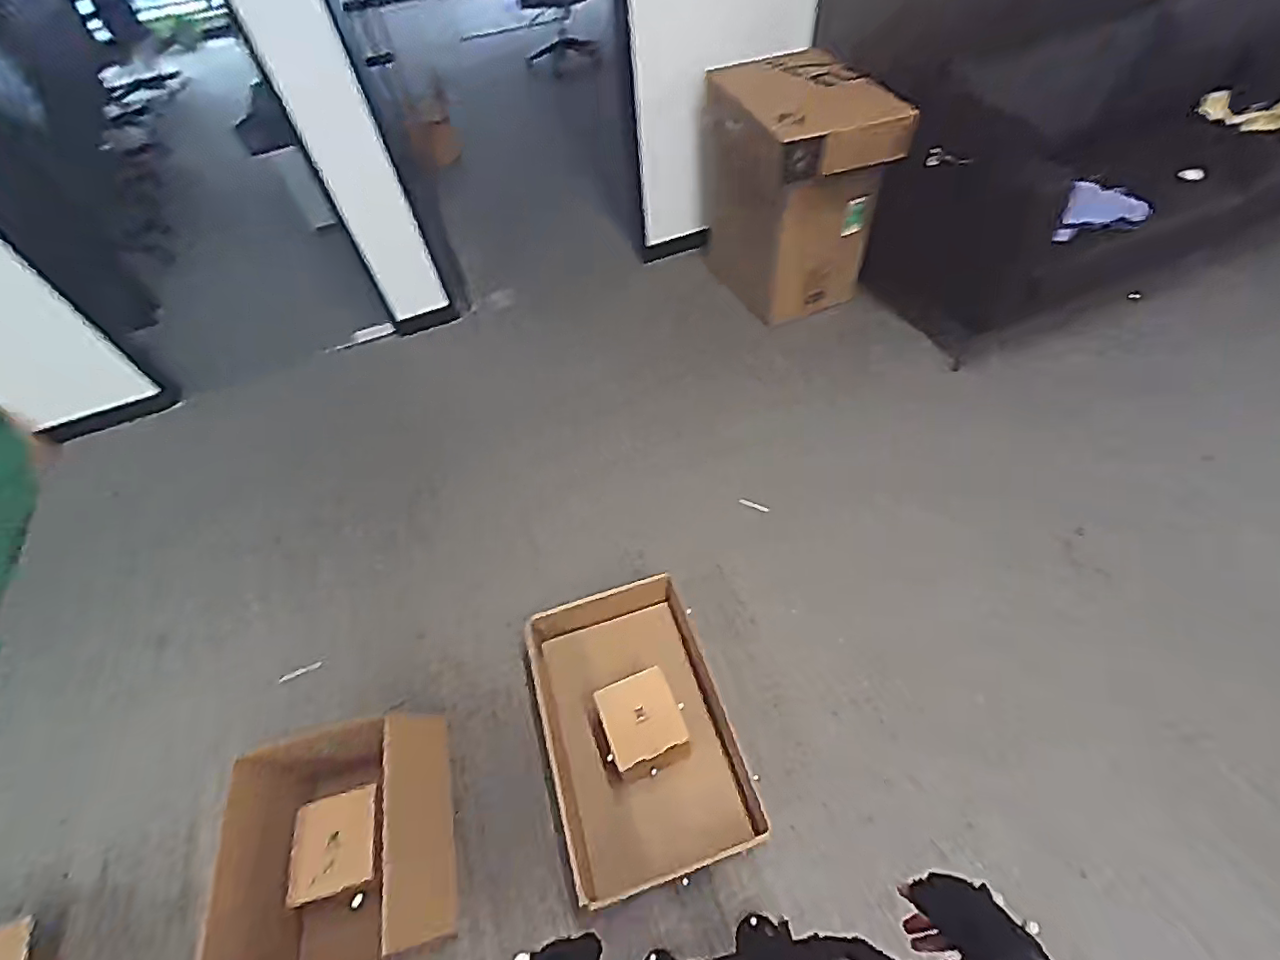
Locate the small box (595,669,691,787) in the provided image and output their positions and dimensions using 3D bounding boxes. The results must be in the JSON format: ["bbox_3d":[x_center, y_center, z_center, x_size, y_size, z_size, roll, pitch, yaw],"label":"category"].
[{"bbox_3d":[0.007,0.572,1.241,0.168,0.176,0.179,-20,53,-11],"label":"small box"}]
